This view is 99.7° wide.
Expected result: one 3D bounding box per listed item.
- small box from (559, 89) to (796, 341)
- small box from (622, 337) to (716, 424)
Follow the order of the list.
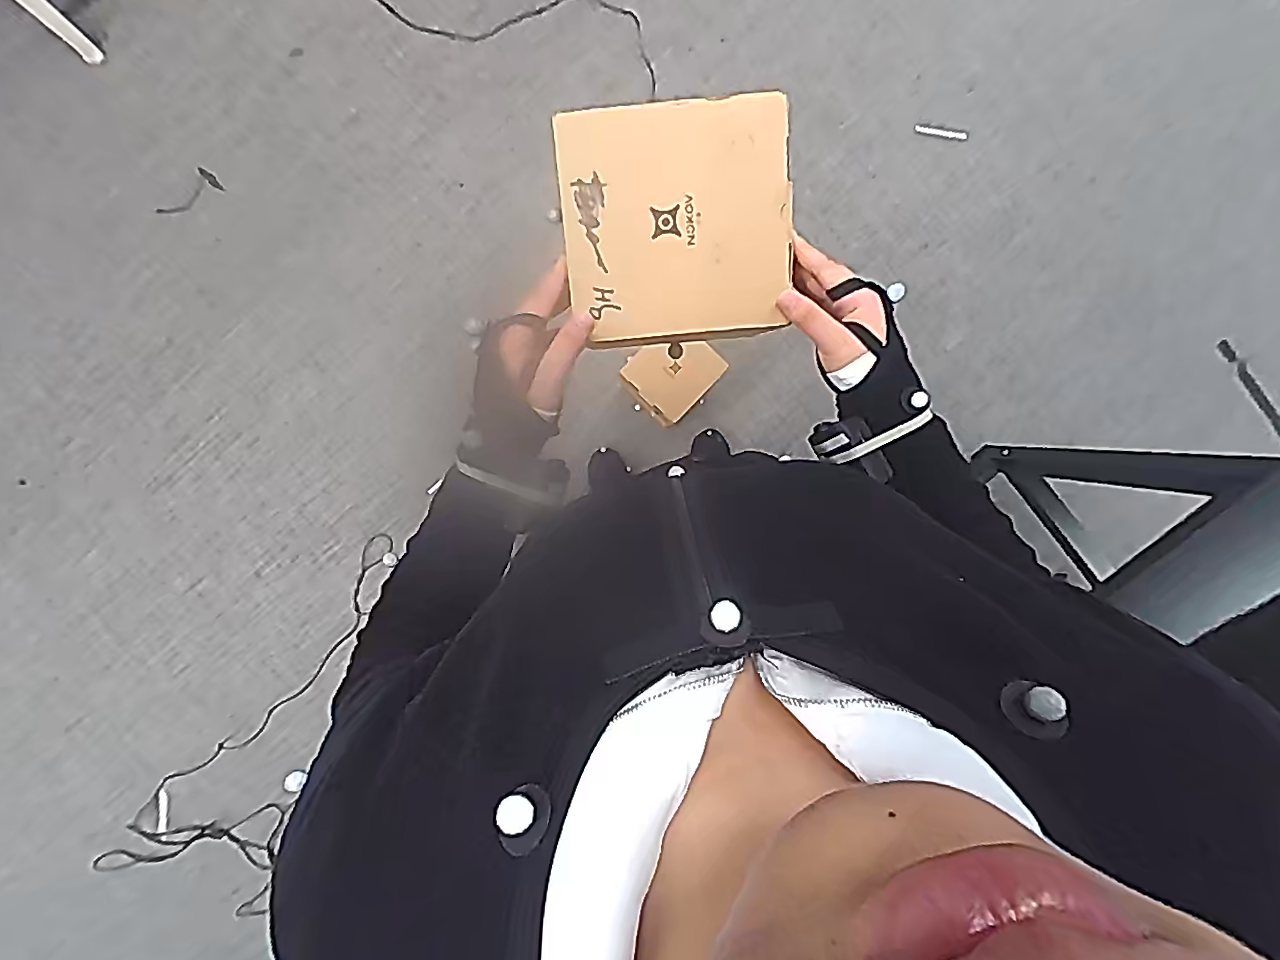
[{"bbox_3d":[0.030,-0.219,0.493,0.179,0.176,0.168,-6,102,1],"label":"small box"},{"bbox_3d":[0.069,-0.264,1.400,0.179,0.176,0.168,-44,93,4],"label":"small box"}]
